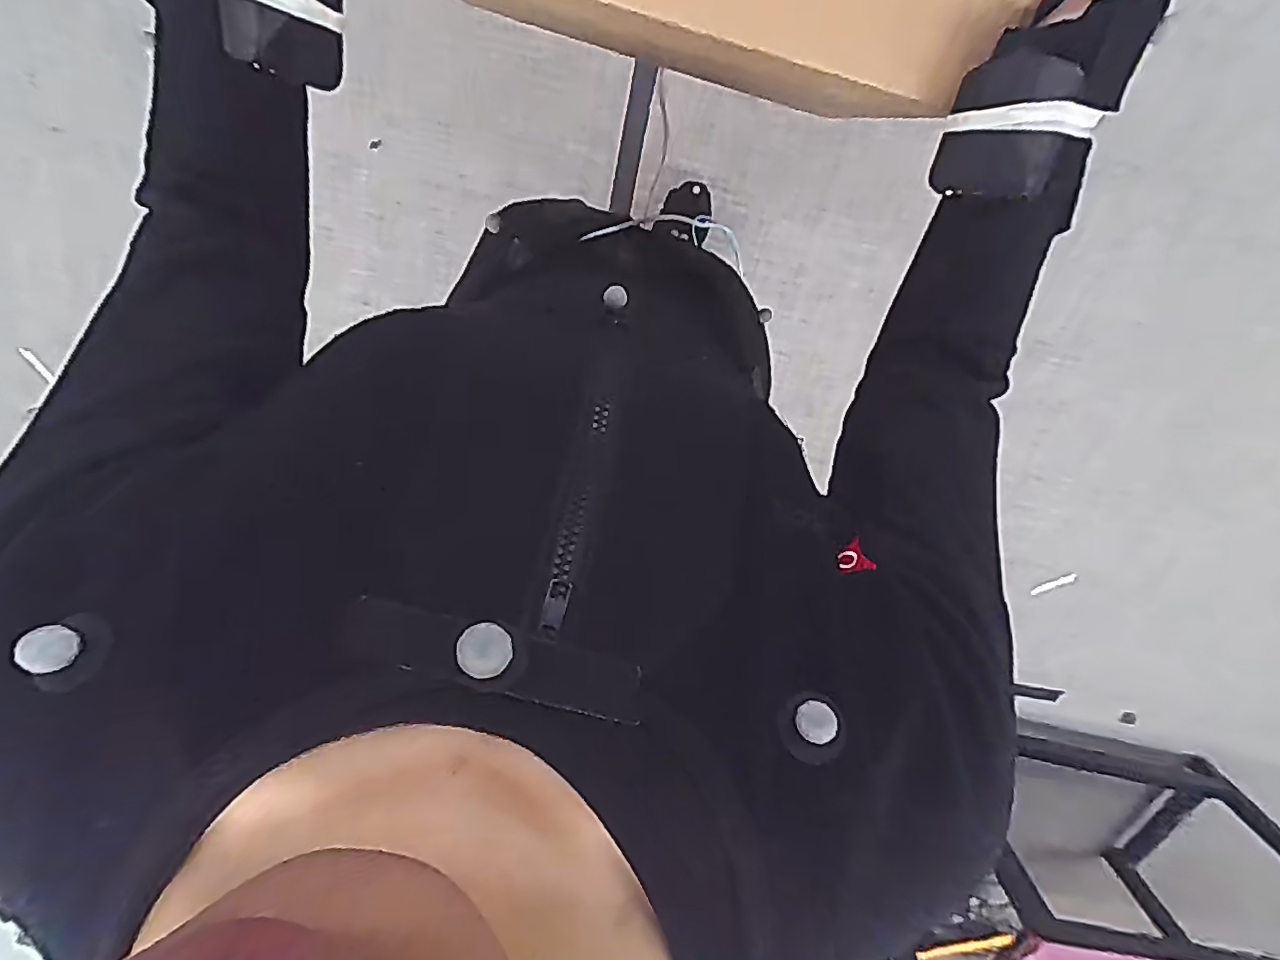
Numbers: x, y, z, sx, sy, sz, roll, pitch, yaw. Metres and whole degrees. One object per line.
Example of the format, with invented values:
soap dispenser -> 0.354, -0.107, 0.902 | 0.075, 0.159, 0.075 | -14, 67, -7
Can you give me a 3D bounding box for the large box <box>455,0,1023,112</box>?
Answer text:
large box -> 0.049, -0.475, 0.358 | 0.408, 0.320, 0.320 | 11, 124, -8
